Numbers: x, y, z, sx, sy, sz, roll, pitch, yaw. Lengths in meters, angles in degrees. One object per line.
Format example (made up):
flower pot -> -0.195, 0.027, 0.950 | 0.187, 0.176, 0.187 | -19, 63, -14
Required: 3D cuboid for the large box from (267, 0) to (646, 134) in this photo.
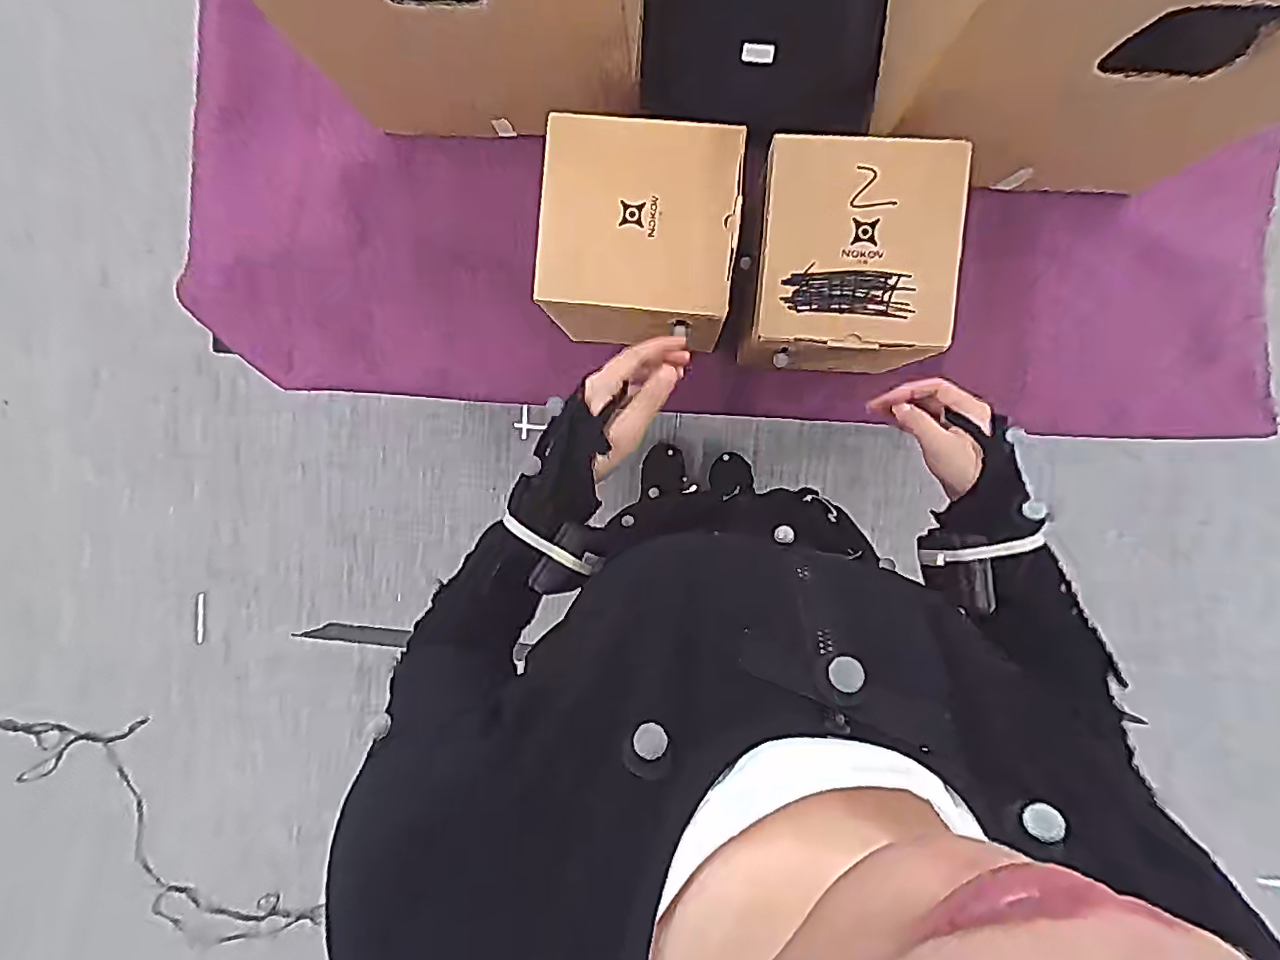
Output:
large box -> -0.150, -0.588, 0.467 | 0.320, 0.320, 0.408 | 2, 97, 4
